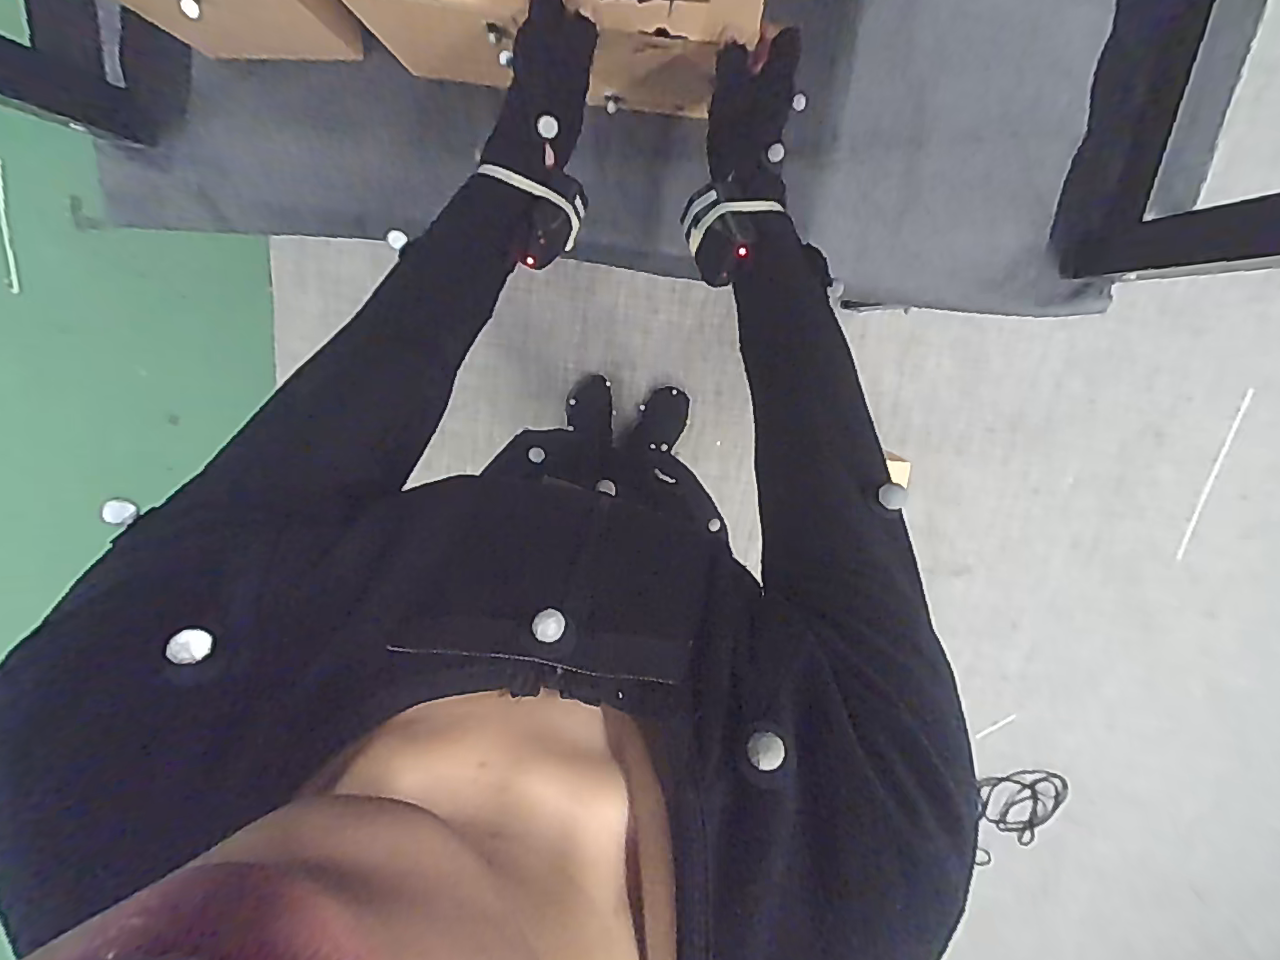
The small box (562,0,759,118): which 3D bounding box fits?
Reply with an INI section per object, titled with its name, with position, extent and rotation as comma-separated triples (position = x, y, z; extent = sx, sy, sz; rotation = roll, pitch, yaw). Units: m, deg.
[small box]
position = 0.027, -0.472, 0.509
extent = 0.168, 0.176, 0.179
rotation = 6, 105, 0
